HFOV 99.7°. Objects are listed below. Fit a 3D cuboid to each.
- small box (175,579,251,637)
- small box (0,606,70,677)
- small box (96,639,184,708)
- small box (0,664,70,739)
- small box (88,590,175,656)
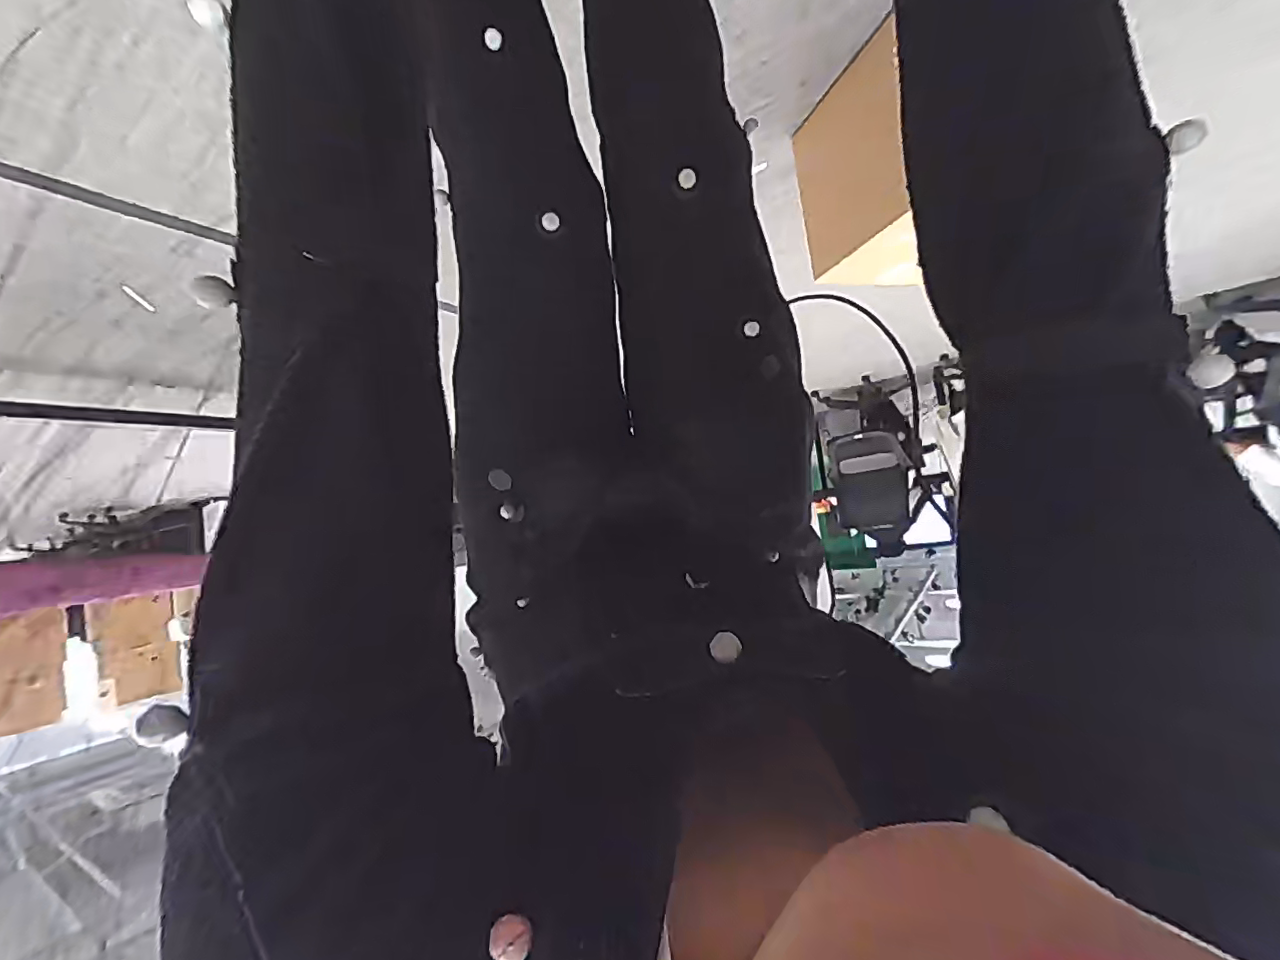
[{"bbox_3d":[-1.539,0.456,1.944,0.179,0.176,0.168,-14,173,31],"label":"small box"},{"bbox_3d":[-1.761,0.457,1.535,0.179,0.176,0.168,-12,175,32],"label":"small box"},{"bbox_3d":[-1.593,0.610,1.721,0.179,0.176,0.168,-13,174,30],"label":"small box"},{"bbox_3d":[-1.744,0.618,1.520,0.179,0.176,0.168,-13,175,34],"label":"small box"},{"bbox_3d":[-1.620,0.449,1.718,0.179,0.176,0.168,-11,175,32],"label":"small box"}]
